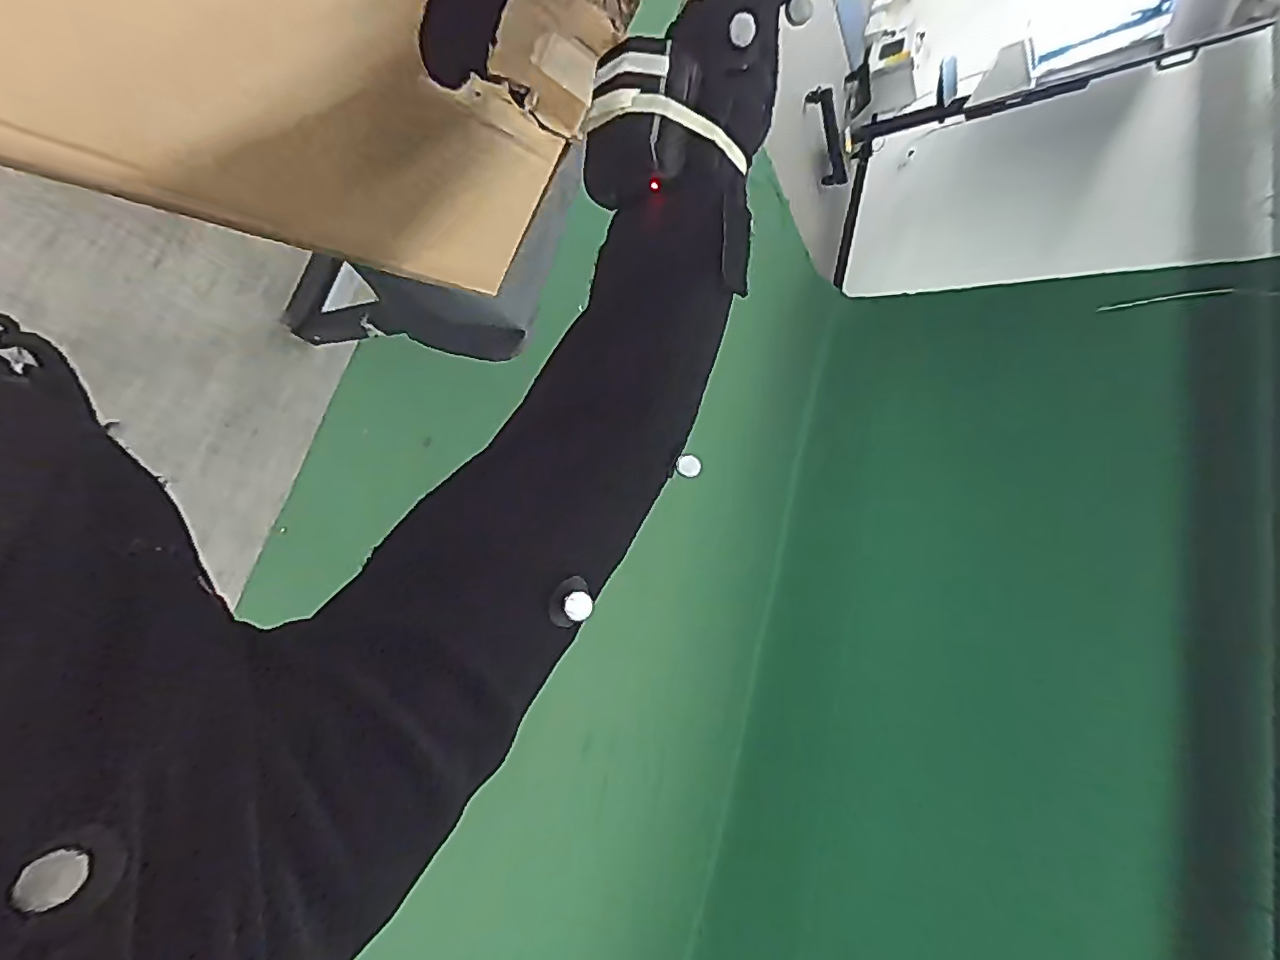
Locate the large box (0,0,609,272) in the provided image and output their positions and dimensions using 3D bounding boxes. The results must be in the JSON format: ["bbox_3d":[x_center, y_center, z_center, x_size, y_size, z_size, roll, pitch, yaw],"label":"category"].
[{"bbox_3d":[-0.245,-0.381,0.285,0.320,0.408,0.320,-9,140,-56],"label":"large box"}]
